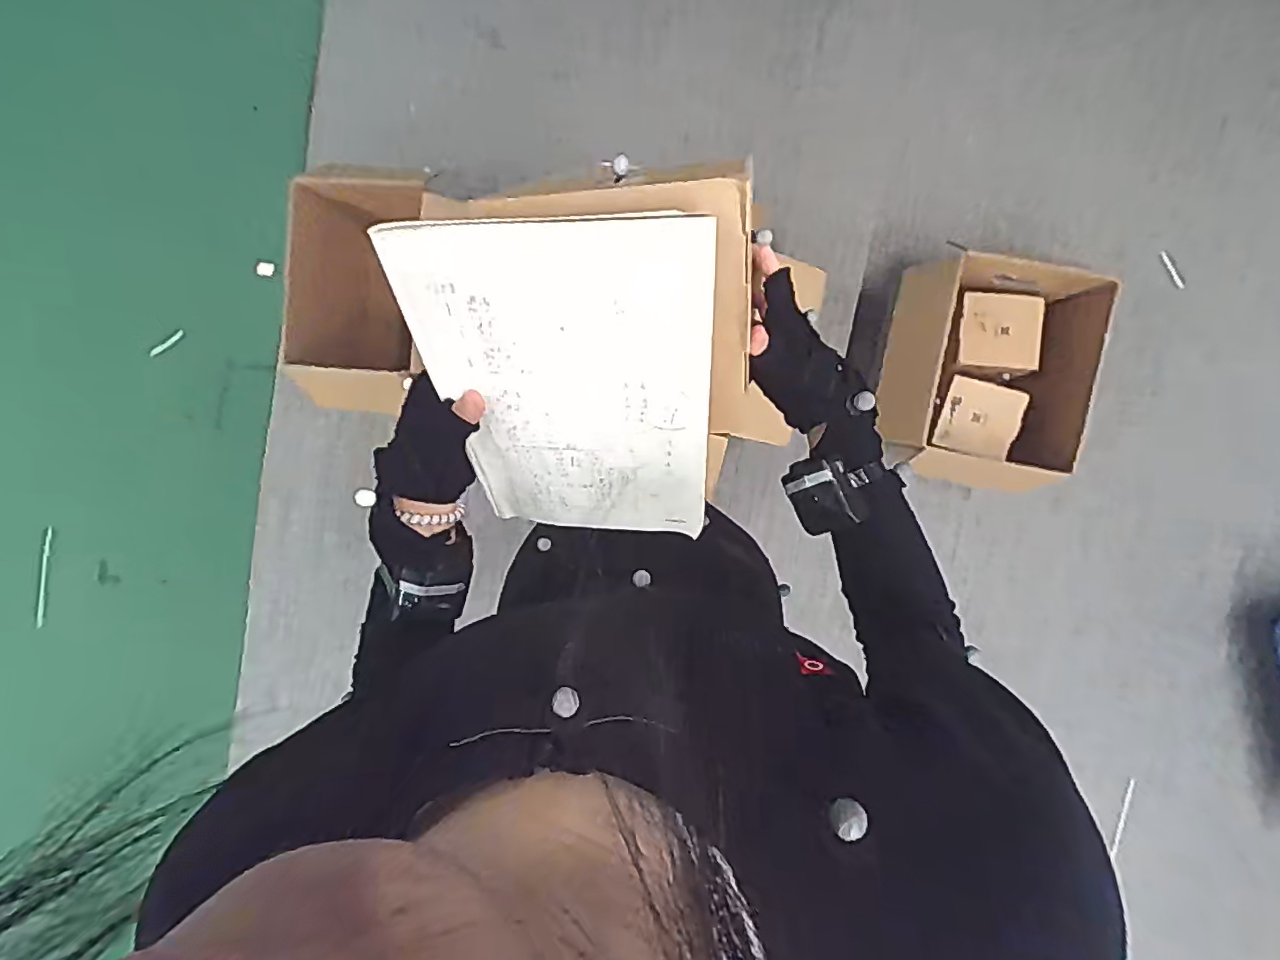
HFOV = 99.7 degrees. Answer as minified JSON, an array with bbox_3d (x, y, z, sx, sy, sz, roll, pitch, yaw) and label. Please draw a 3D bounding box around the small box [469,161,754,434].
[{"bbox_3d":[-0.004,-0.148,0.428,0.179,0.176,0.168,0,122,10],"label":"small box"}]
